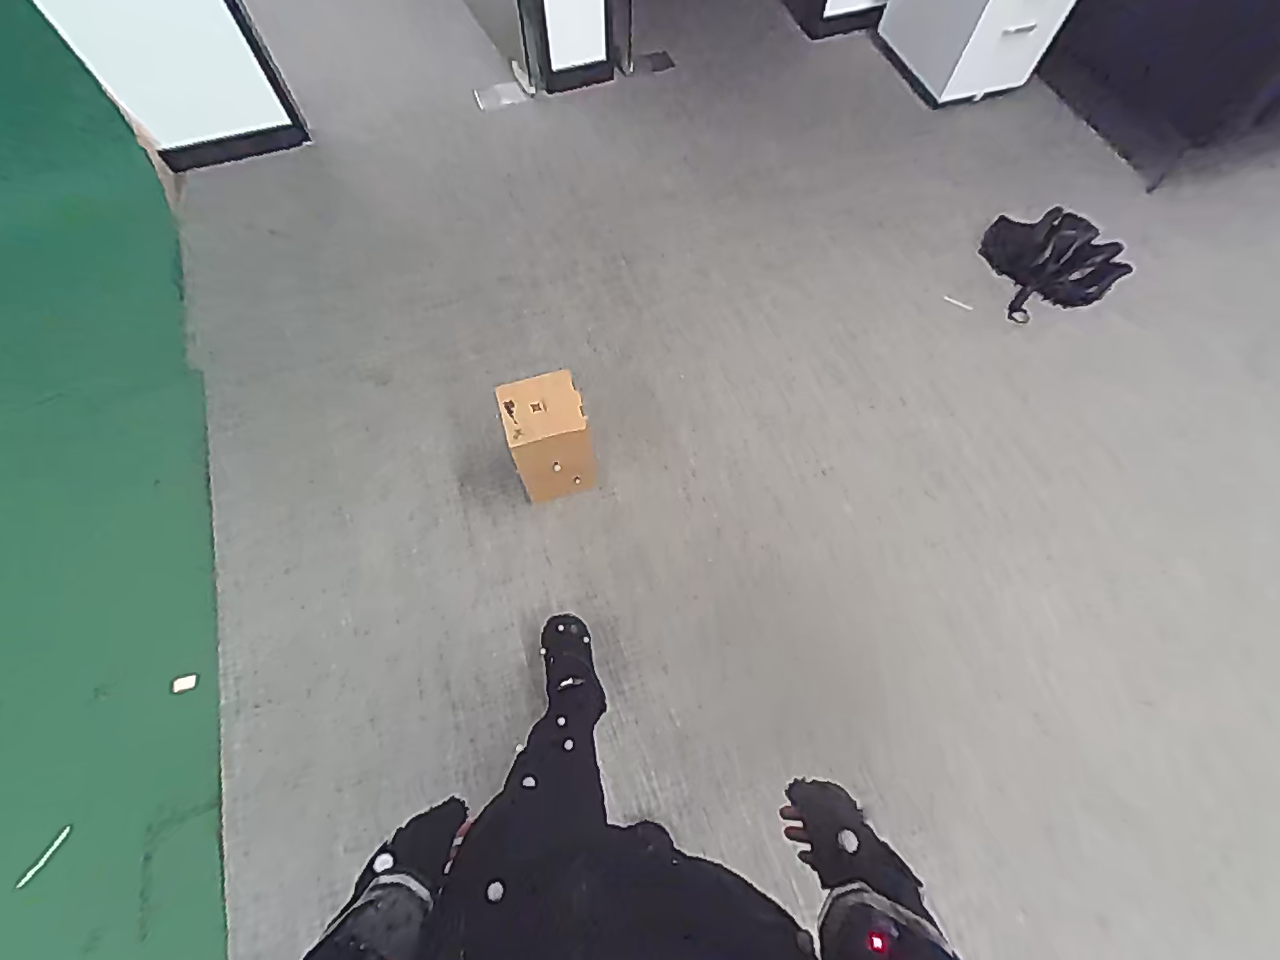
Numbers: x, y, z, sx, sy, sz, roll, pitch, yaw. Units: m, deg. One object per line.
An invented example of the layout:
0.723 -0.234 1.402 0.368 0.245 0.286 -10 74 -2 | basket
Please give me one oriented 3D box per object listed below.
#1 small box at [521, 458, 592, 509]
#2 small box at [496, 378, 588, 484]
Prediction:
-0.231 -0.044 1.429 0.179 0.176 0.168 -18 66 -8 | small box
-0.225 -0.112 1.280 0.179 0.176 0.168 -15 66 -9 | small box
